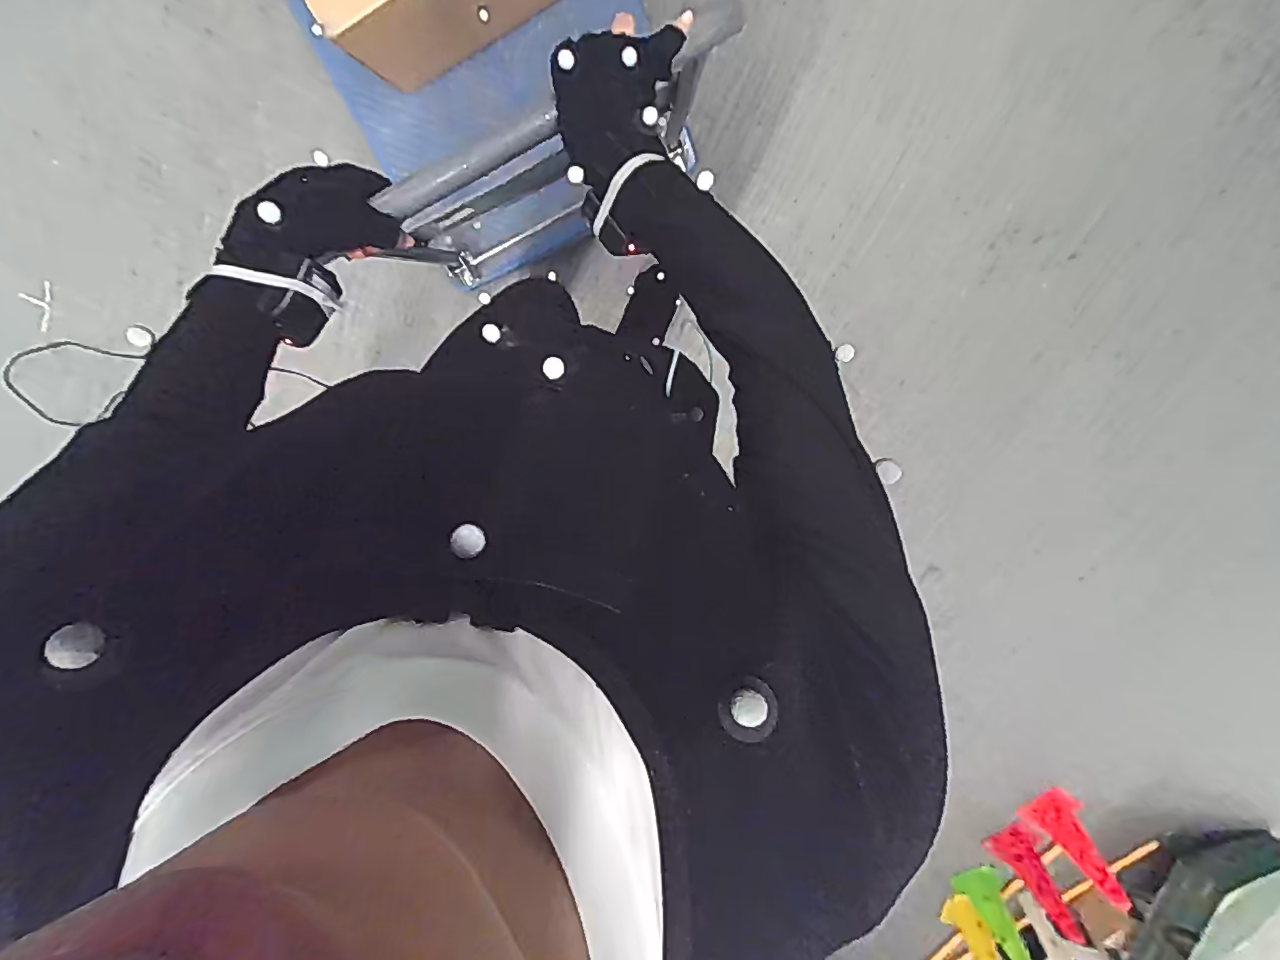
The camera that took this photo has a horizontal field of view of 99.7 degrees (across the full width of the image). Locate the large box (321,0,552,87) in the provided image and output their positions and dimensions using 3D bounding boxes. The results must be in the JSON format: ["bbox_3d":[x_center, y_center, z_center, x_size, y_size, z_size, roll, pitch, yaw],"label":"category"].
[{"bbox_3d":[-0.311,-0.884,0.802,0.408,0.320,0.320,-25,112,9],"label":"large box"}]
